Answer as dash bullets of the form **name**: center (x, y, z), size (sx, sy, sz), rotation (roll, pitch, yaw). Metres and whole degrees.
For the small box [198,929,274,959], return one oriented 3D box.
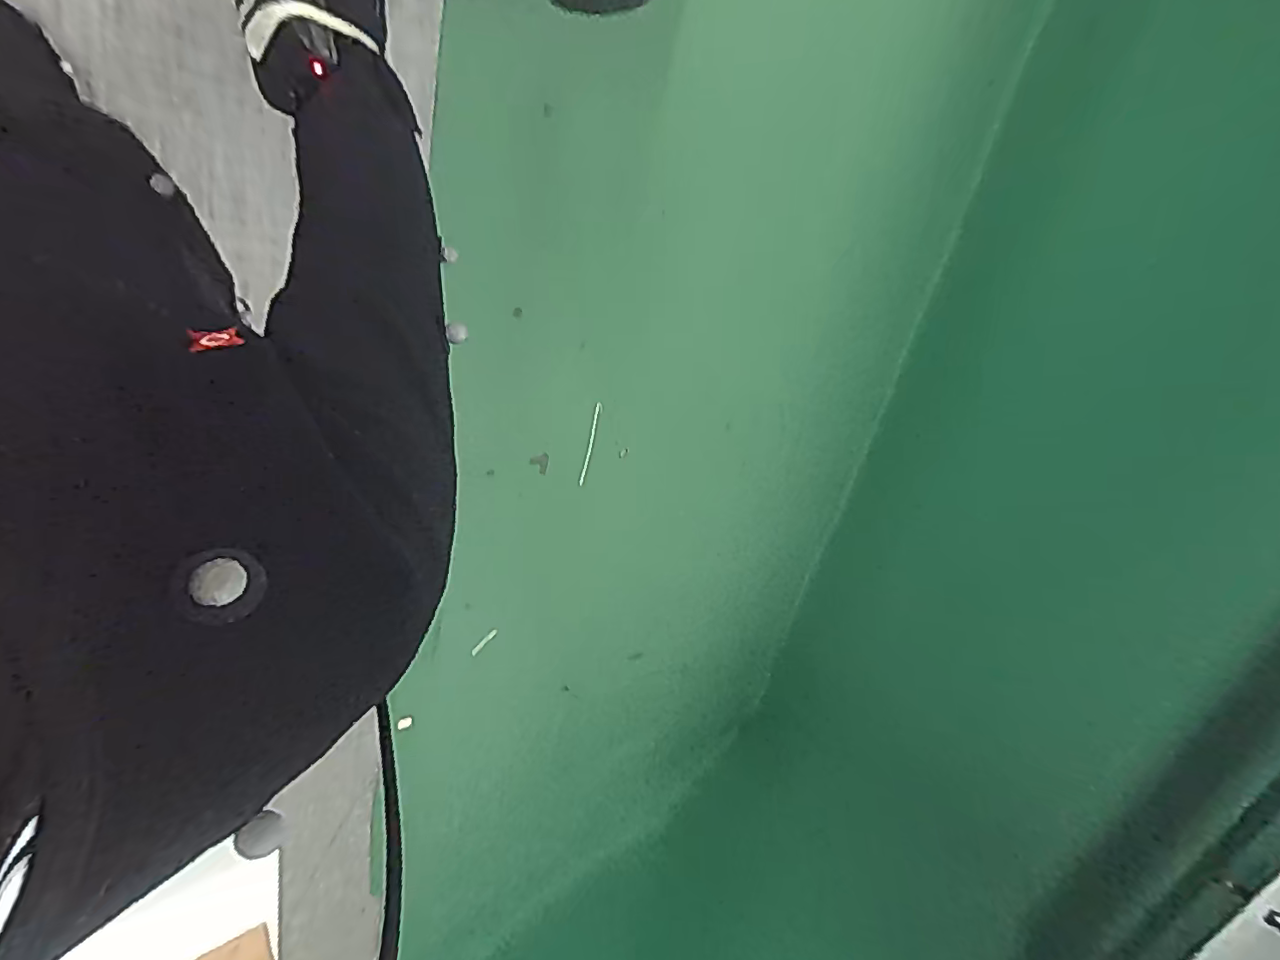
- **small box**: center (-0.740, 0.962, 0.954), size (0.168, 0.176, 0.179), rotation (-6, 118, -45)
